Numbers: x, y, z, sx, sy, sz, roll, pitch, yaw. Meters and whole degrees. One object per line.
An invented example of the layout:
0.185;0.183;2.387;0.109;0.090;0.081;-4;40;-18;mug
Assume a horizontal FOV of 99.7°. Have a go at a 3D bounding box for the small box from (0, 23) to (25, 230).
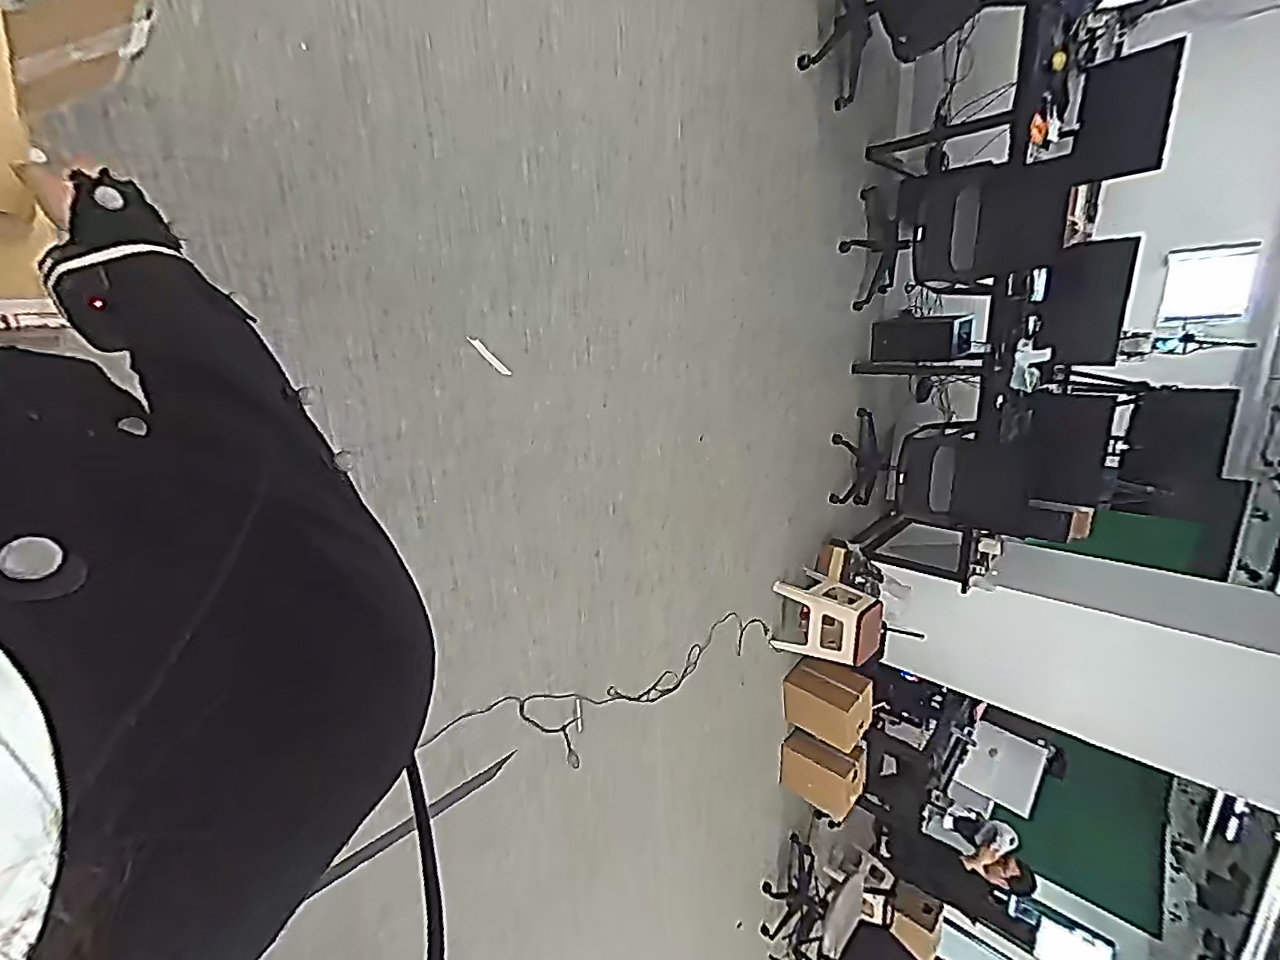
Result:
-0.654;-0.318;0.450;0.179;0.176;0.168;-10;108;-49;small box
